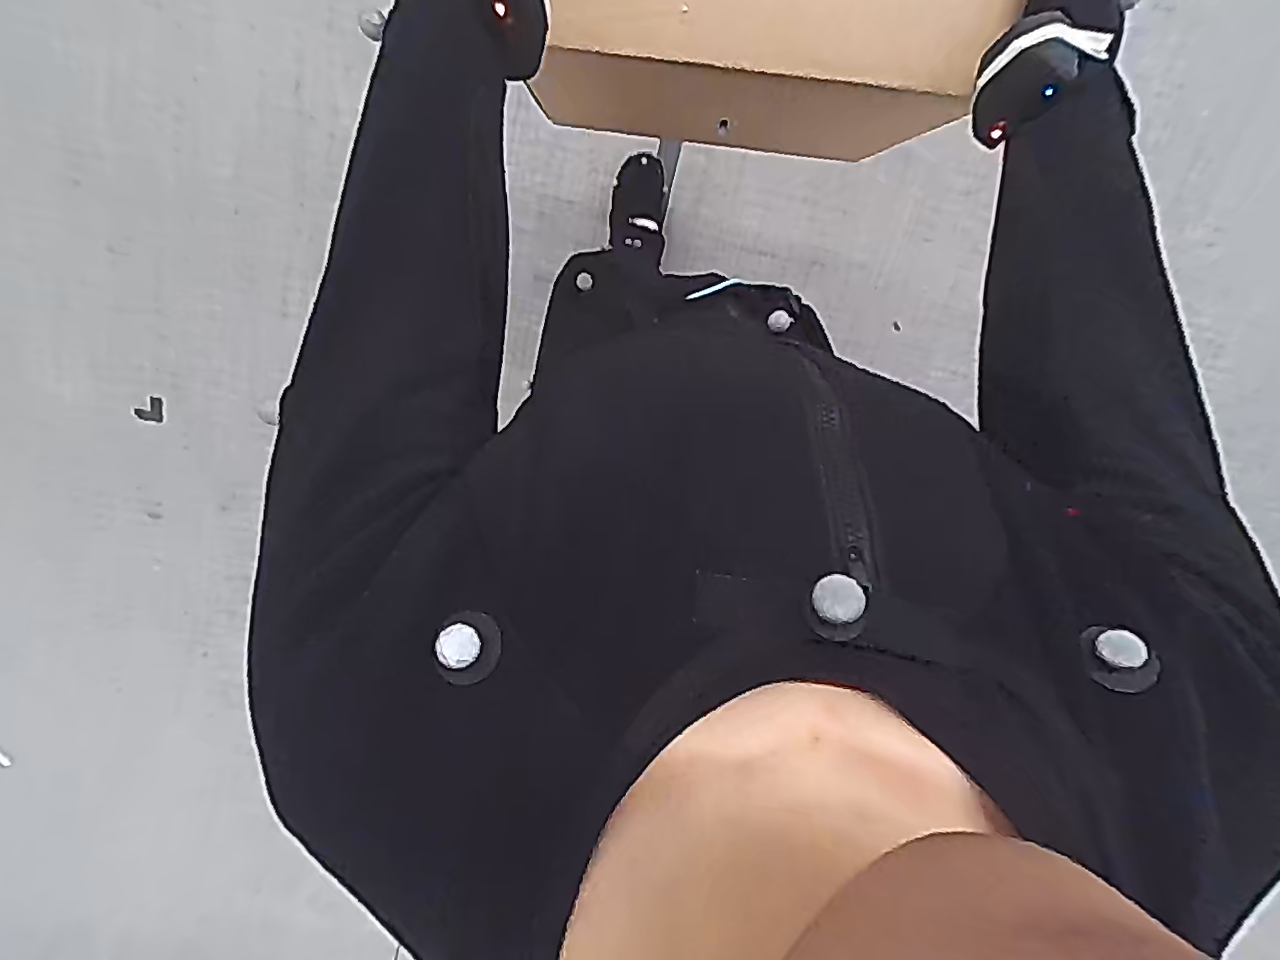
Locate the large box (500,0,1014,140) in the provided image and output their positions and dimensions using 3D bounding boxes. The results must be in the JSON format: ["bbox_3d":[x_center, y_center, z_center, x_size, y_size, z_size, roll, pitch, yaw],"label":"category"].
[{"bbox_3d":[0.105,-0.540,0.507,0.408,0.320,0.320,6,112,-2],"label":"large box"}]
